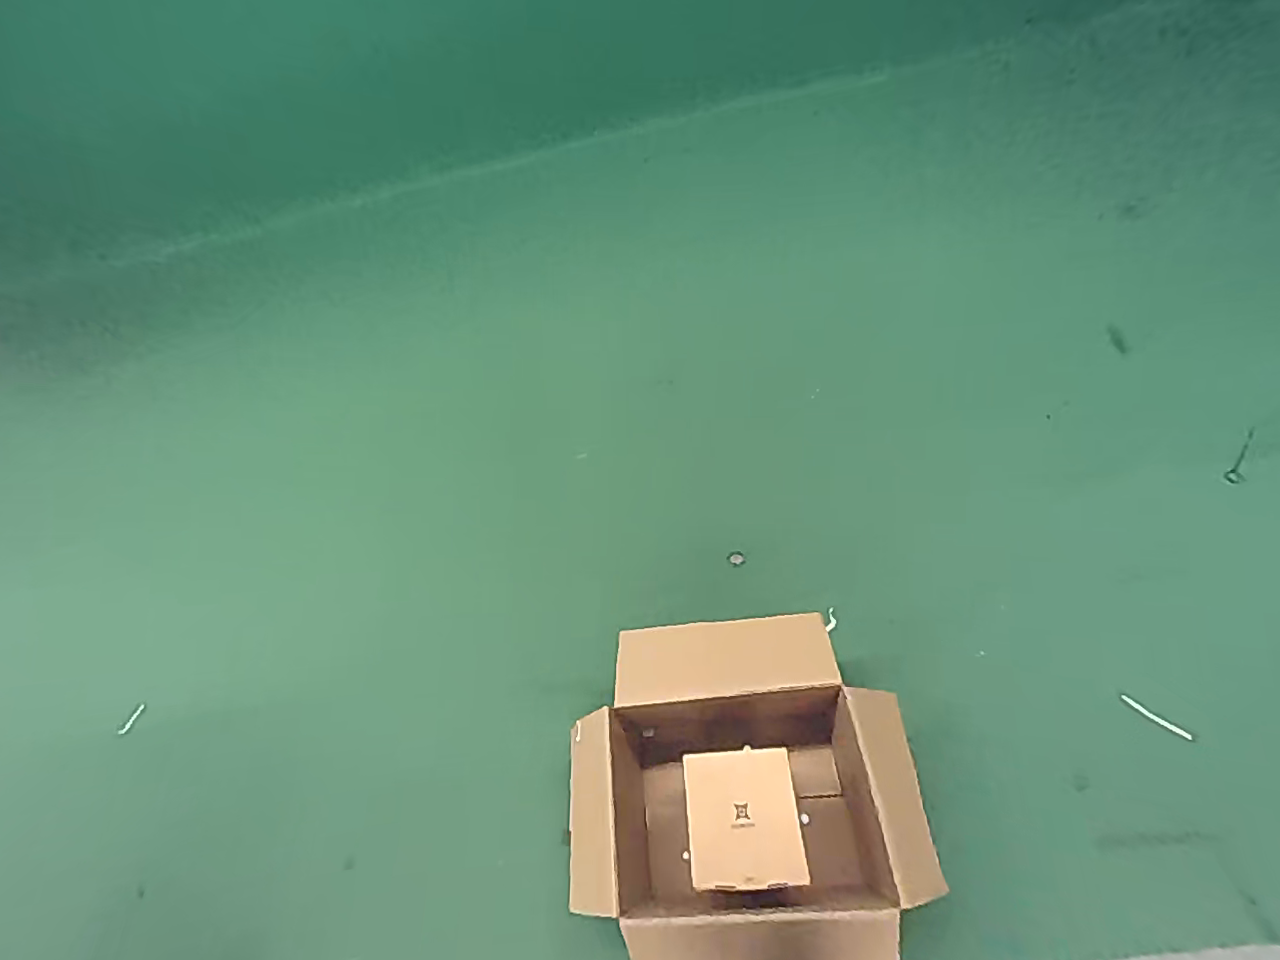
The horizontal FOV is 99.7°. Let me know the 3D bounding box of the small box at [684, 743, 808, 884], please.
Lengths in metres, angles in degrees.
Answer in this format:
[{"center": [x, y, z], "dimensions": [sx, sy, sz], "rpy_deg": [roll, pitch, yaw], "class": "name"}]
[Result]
[{"center": [0.163, 0.536, 0.870], "dimensions": [0.168, 0.176, 0.179], "rpy_deg": [-7, 56, 7], "class": "small box"}]
